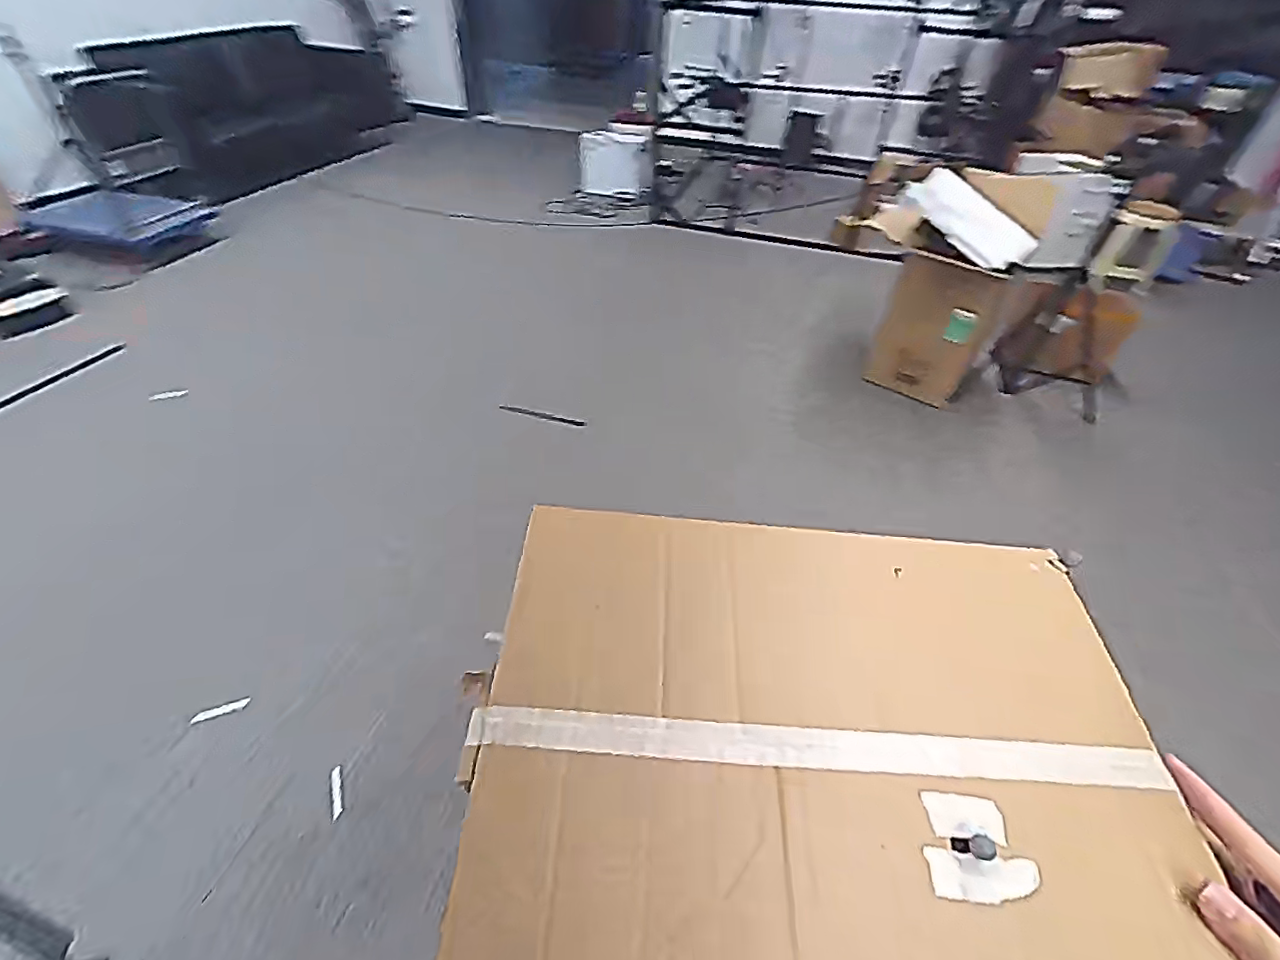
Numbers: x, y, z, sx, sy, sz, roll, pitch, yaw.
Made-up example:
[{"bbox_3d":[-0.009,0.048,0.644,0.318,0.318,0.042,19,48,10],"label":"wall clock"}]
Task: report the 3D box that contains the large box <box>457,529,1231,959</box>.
[{"bbox_3d":[0.096,0.261,0.441,0.408,0.320,0.320,5,52,-3],"label":"large box"}]
